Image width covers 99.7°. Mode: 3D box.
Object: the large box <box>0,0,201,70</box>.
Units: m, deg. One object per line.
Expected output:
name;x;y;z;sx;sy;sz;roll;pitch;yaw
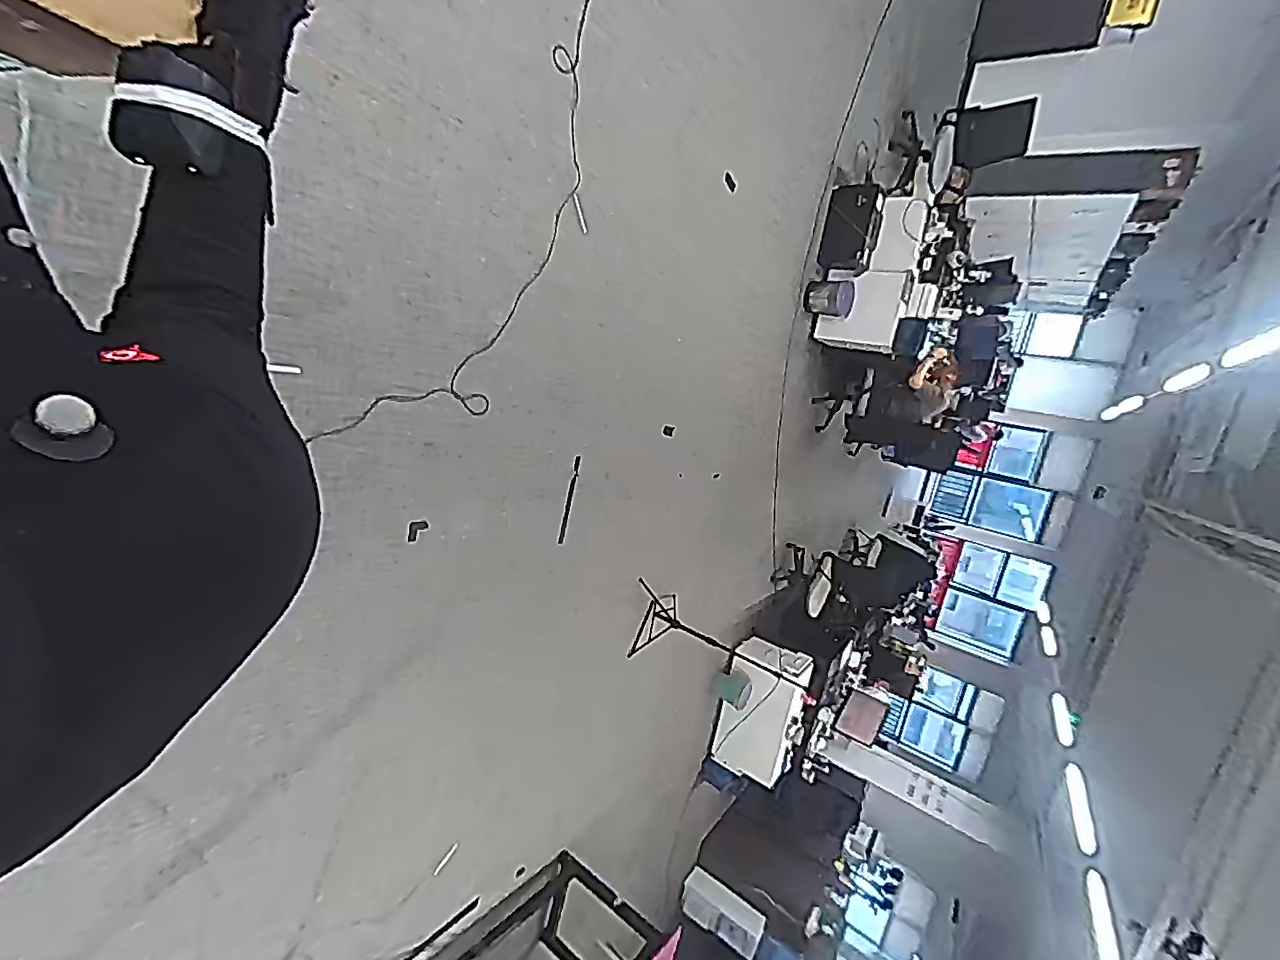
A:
large box;-0.492;-0.473;0.247;0.408;0.320;0.320;-2;114;-60
